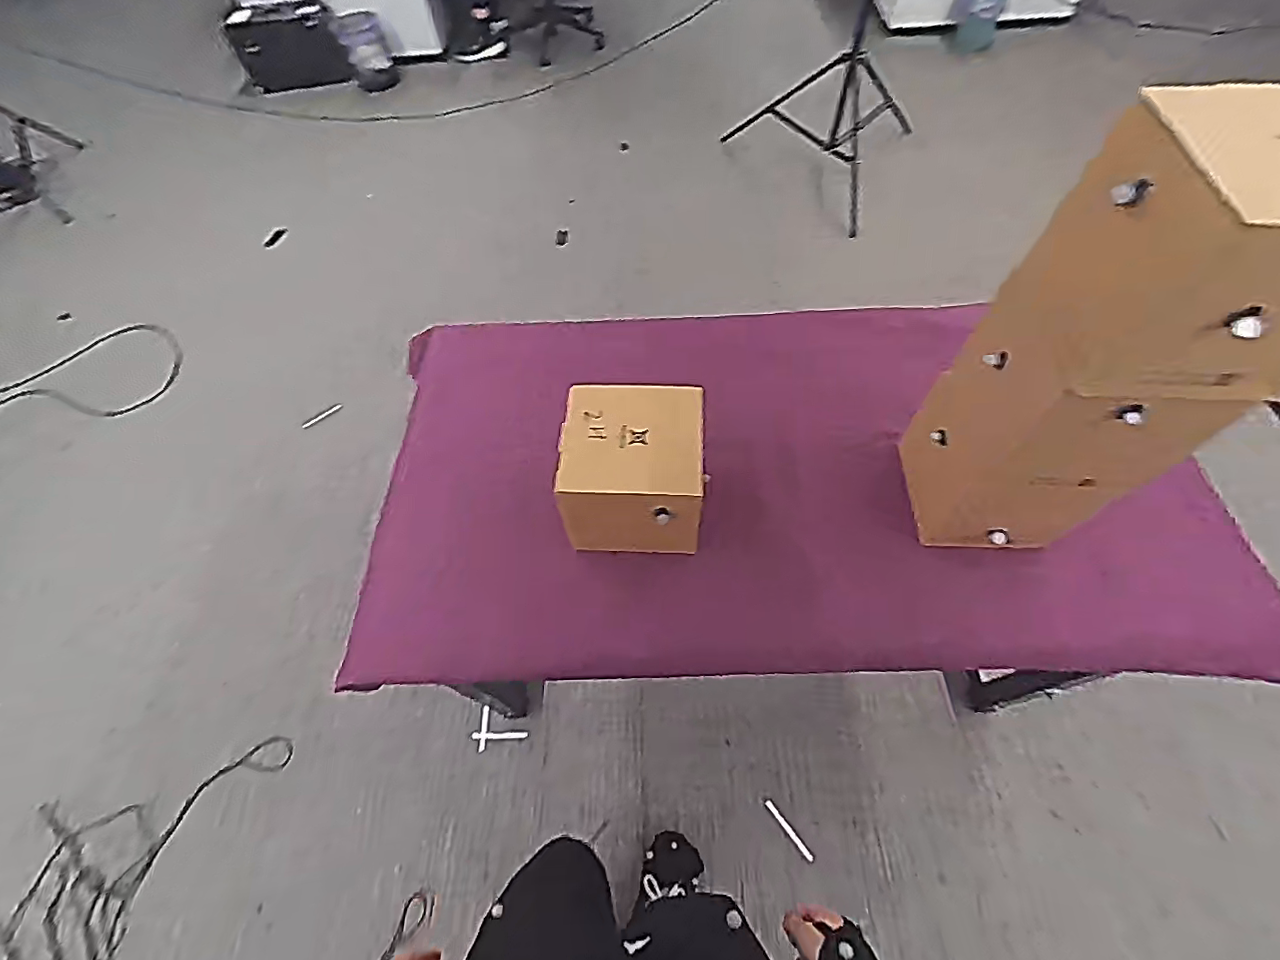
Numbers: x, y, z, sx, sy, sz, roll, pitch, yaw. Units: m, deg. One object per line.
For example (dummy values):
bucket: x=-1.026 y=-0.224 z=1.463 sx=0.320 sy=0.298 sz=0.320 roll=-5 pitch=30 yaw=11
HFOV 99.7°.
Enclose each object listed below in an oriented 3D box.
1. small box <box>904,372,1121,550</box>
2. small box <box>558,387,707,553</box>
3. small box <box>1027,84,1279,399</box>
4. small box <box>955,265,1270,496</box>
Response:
small box: x=0.475 y=-0.022 z=0.719 sx=0.168 sy=0.176 sz=0.179 roll=1 pitch=59 yaw=4
small box: x=-0.002 y=-0.009 z=0.737 sx=0.179 sy=0.176 sz=0.168 roll=1 pitch=58 yaw=4
small box: x=0.459 y=-0.181 z=0.433 sx=0.168 sy=0.176 sz=0.179 roll=2 pitch=59 yaw=5
small box: x=0.466 y=-0.103 z=0.577 sx=0.168 sy=0.176 sz=0.179 roll=2 pitch=58 yaw=5
